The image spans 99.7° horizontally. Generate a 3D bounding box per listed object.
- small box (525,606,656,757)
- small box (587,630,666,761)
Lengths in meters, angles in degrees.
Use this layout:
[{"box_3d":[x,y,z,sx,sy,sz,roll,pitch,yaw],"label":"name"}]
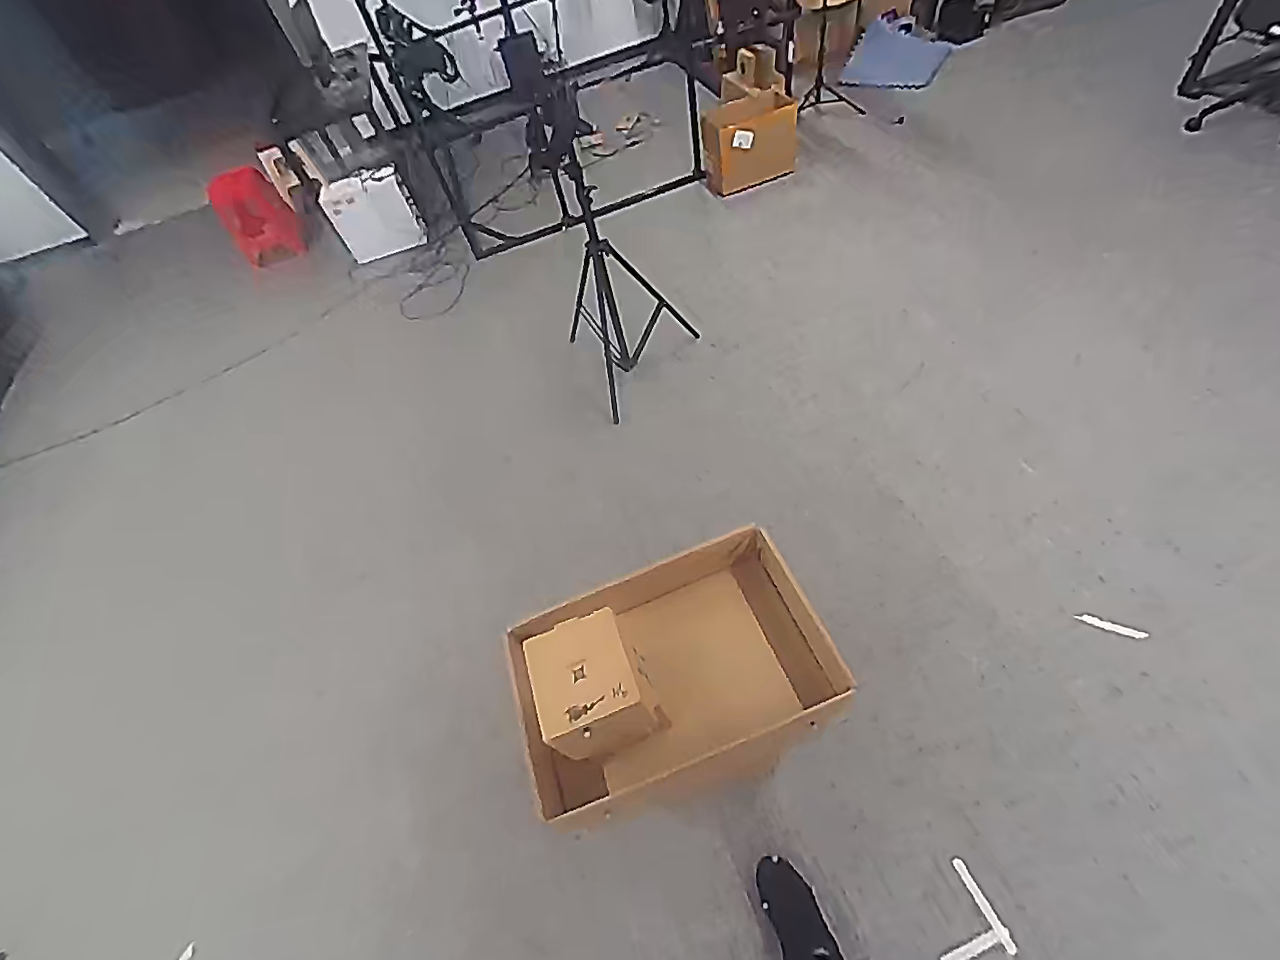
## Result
[{"box_3d":[-0.084,0.357,0.951,0.168,0.176,0.179,-22,51,-2],"label":"small box"},{"box_3d":[-0.058,0.437,1.092,0.179,0.176,0.168,-26,52,-5],"label":"small box"}]
